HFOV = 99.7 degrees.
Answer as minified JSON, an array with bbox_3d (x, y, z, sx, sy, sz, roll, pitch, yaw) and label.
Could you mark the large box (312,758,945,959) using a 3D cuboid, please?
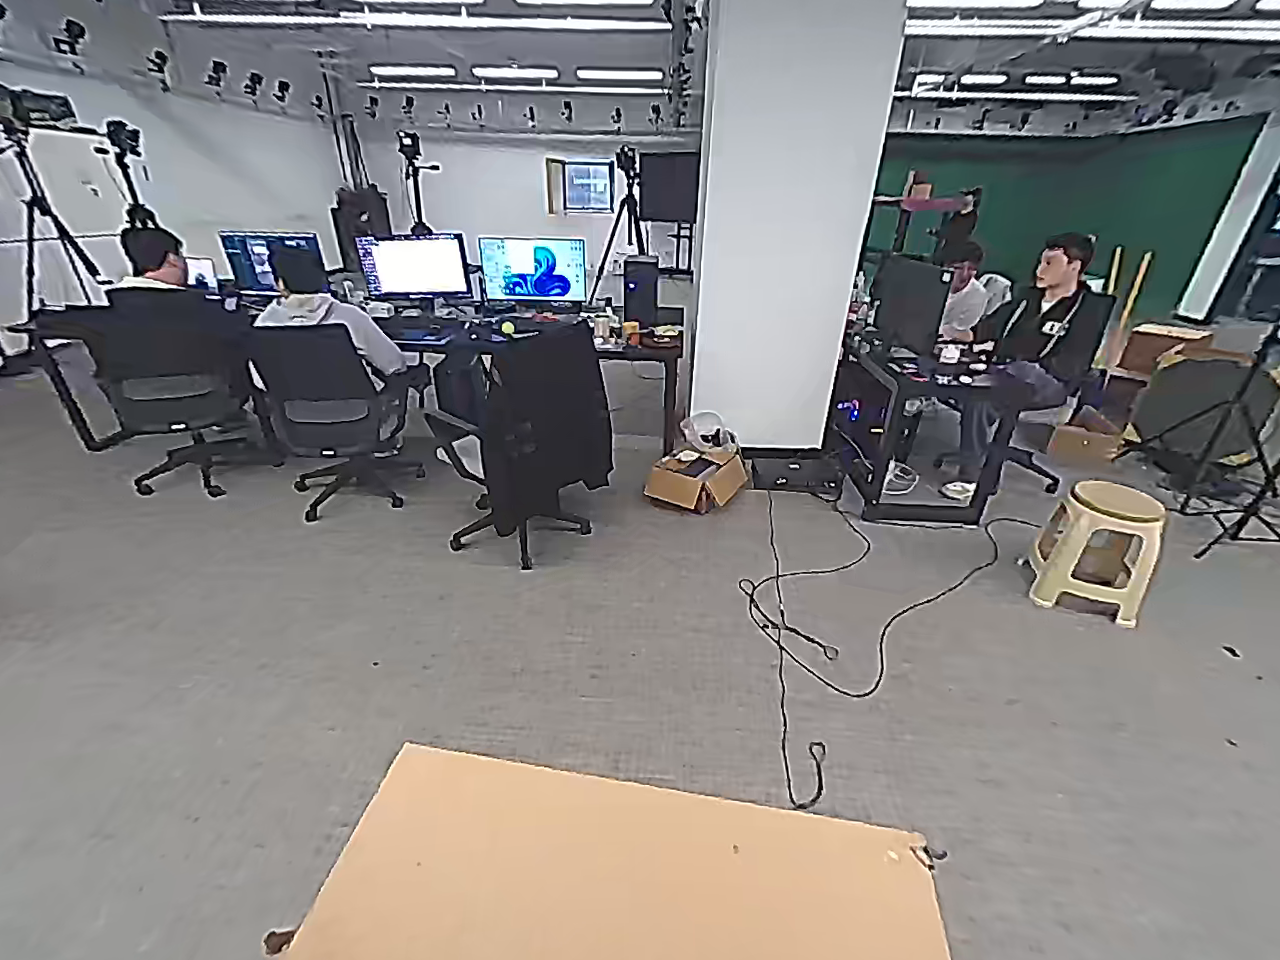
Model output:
[{"bbox_3d":[-0.018,0.453,0.384,0.408,0.320,0.320,6,36,7],"label":"large box"}]
